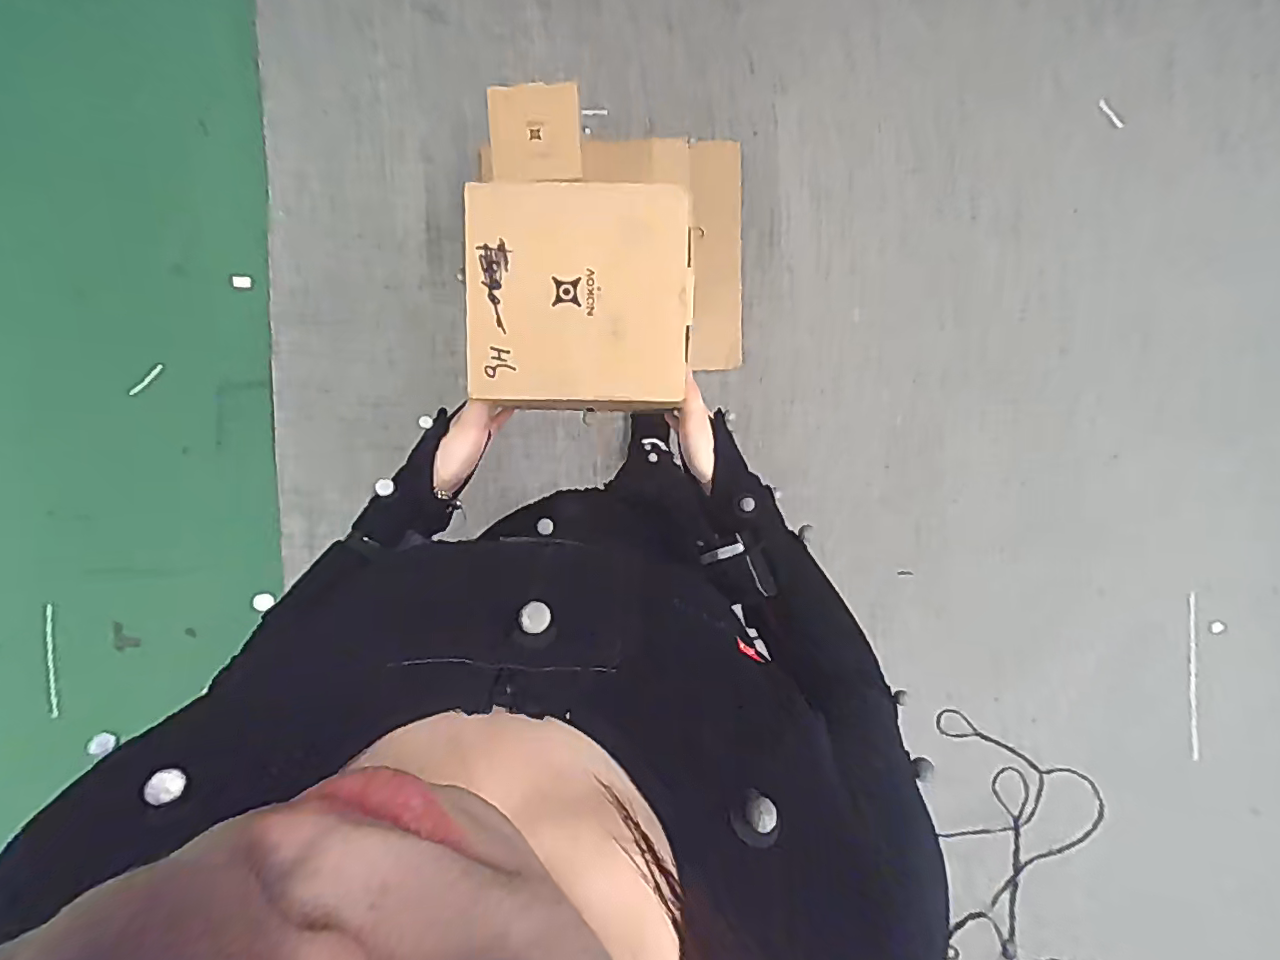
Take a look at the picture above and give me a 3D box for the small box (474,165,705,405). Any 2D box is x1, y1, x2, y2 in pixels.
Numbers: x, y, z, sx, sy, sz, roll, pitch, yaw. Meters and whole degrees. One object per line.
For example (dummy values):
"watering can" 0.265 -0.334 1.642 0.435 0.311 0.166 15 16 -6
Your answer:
"small box" -0.043 -0.158 0.495 0.179 0.176 0.168 2 94 -2

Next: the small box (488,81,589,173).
"small box" -0.190 -0.629 1.053 0.168 0.176 0.179 -4 91 0
